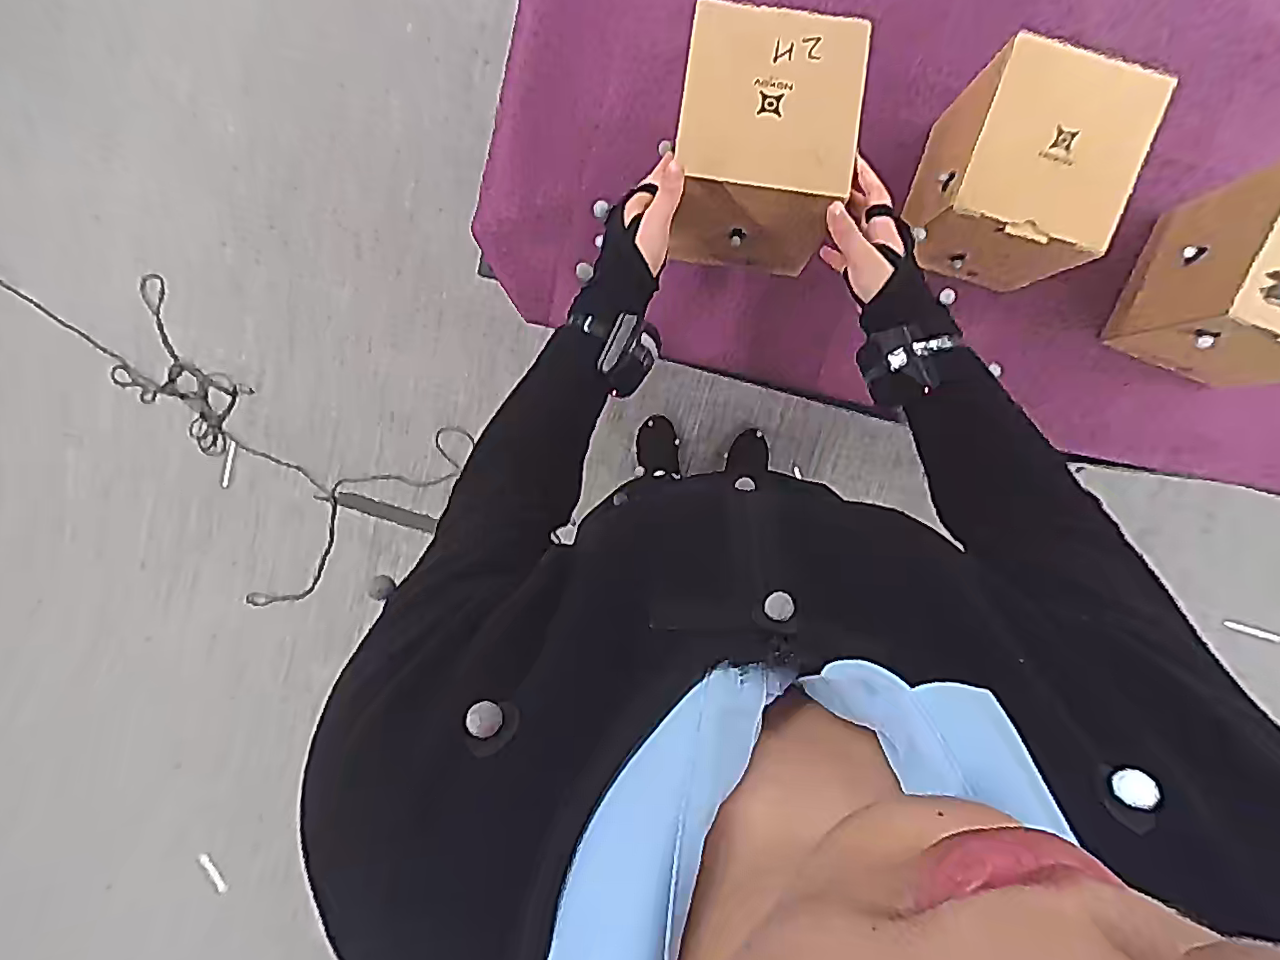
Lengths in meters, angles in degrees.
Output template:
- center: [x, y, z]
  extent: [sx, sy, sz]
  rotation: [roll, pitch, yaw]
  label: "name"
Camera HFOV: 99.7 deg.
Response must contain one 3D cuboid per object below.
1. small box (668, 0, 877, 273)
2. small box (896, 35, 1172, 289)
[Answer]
- center: [0.123, -0.342, 0.566]
  extent: [0.168, 0.176, 0.179]
  rotation: [9, 84, 0]
  label: "small box"
- center: [0.428, -0.345, 0.623]
  extent: [0.168, 0.176, 0.179]
  rotation: [18, 97, 1]
  label: "small box"
